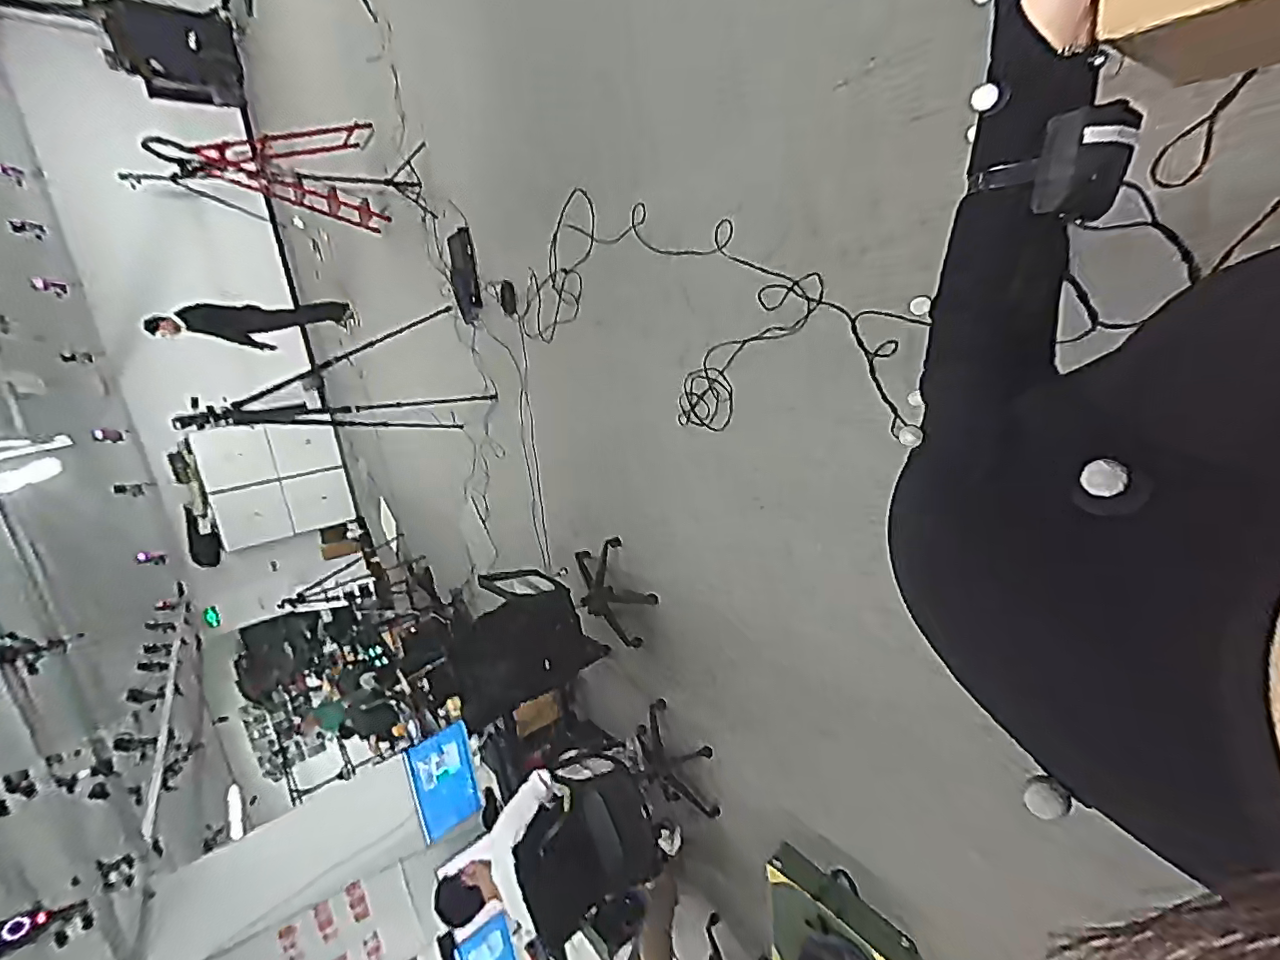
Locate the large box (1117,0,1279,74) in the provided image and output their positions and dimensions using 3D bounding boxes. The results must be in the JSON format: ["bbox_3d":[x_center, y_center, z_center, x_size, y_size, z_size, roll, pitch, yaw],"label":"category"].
[{"bbox_3d":[0.511,-0.445,0.233,0.408,0.320,0.320,14,121,46],"label":"large box"}]
